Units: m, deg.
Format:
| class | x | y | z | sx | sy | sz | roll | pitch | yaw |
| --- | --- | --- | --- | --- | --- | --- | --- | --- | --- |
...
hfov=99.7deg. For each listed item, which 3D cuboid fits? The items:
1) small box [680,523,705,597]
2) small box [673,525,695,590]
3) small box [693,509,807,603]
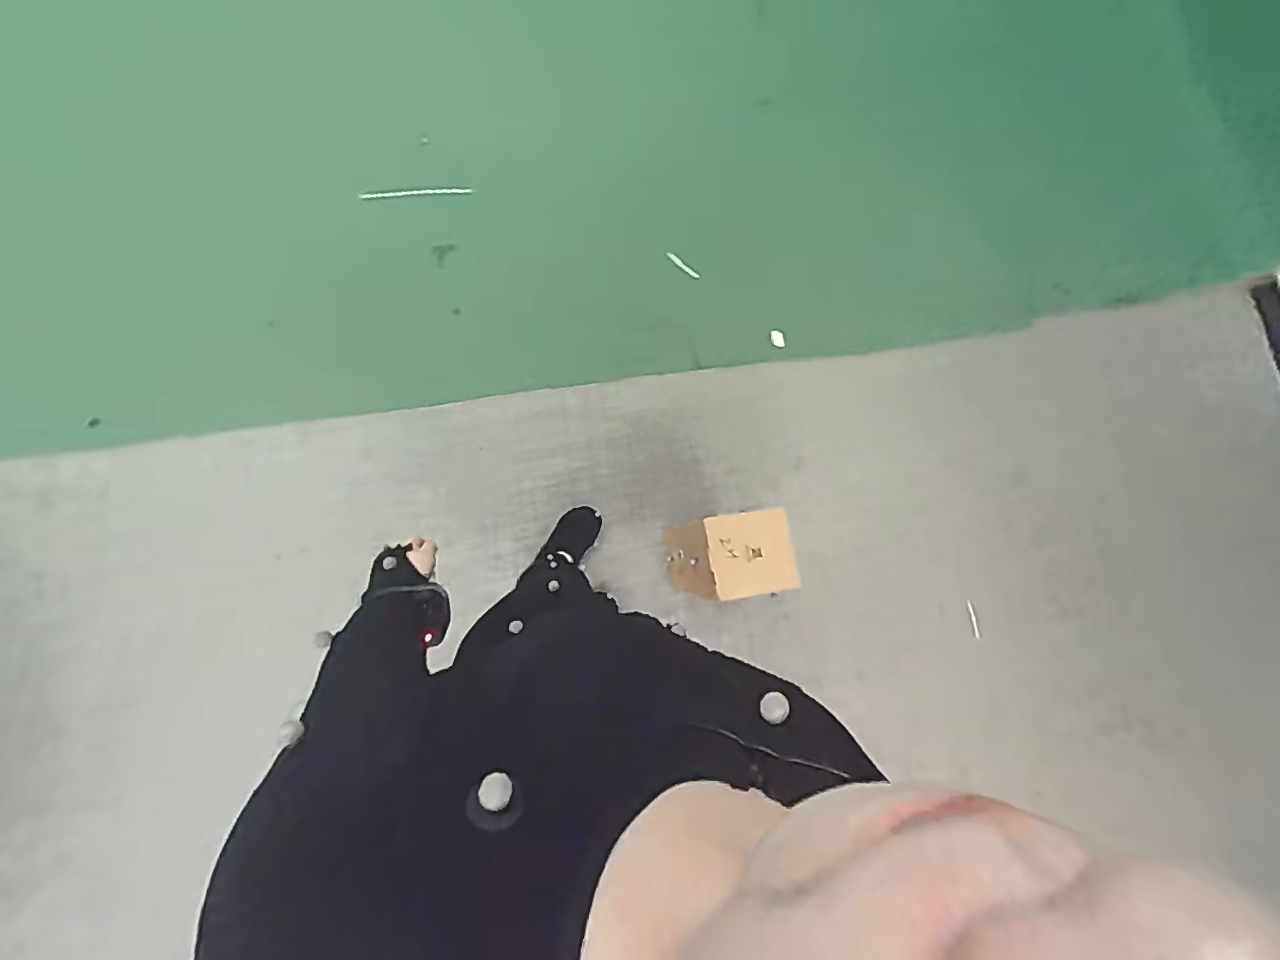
| class | x | y | z | sx | sy | sz | roll | pitch | yaw |
| --- | --- | --- | --- | --- | --- | --- | --- | --- | --- |
| small box | 0.206 | 0.183 | 1.293 | 0.179 | 0.176 | 0.168 | -8 | 81 | -7 |
| small box | 0.188 | 0.205 | 1.453 | 0.179 | 0.176 | 0.168 | -4 | 82 | -7 |
| small box | 0.222 | 0.159 | 1.130 | 0.179 | 0.176 | 0.168 | -7 | 80 | -8 |
